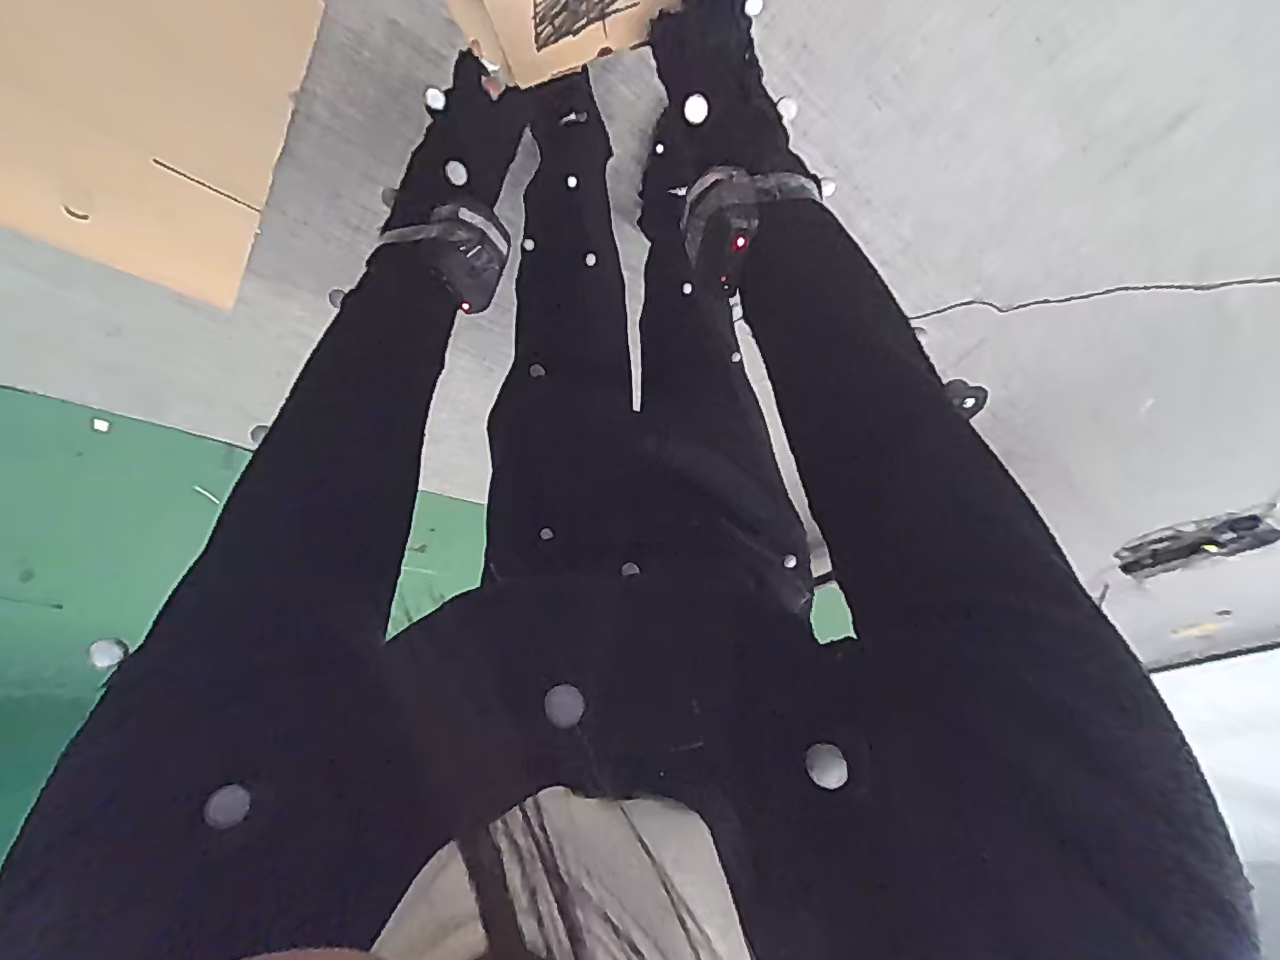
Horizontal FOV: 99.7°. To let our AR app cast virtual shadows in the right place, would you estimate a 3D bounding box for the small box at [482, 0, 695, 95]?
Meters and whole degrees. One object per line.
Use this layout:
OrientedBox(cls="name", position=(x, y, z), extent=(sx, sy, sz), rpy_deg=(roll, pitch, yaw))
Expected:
OrientedBox(cls="small box", position=(-0.058, -0.472, 0.444), extent=(0.168, 0.176, 0.179), rpy_deg=(-13, 148, 9))
